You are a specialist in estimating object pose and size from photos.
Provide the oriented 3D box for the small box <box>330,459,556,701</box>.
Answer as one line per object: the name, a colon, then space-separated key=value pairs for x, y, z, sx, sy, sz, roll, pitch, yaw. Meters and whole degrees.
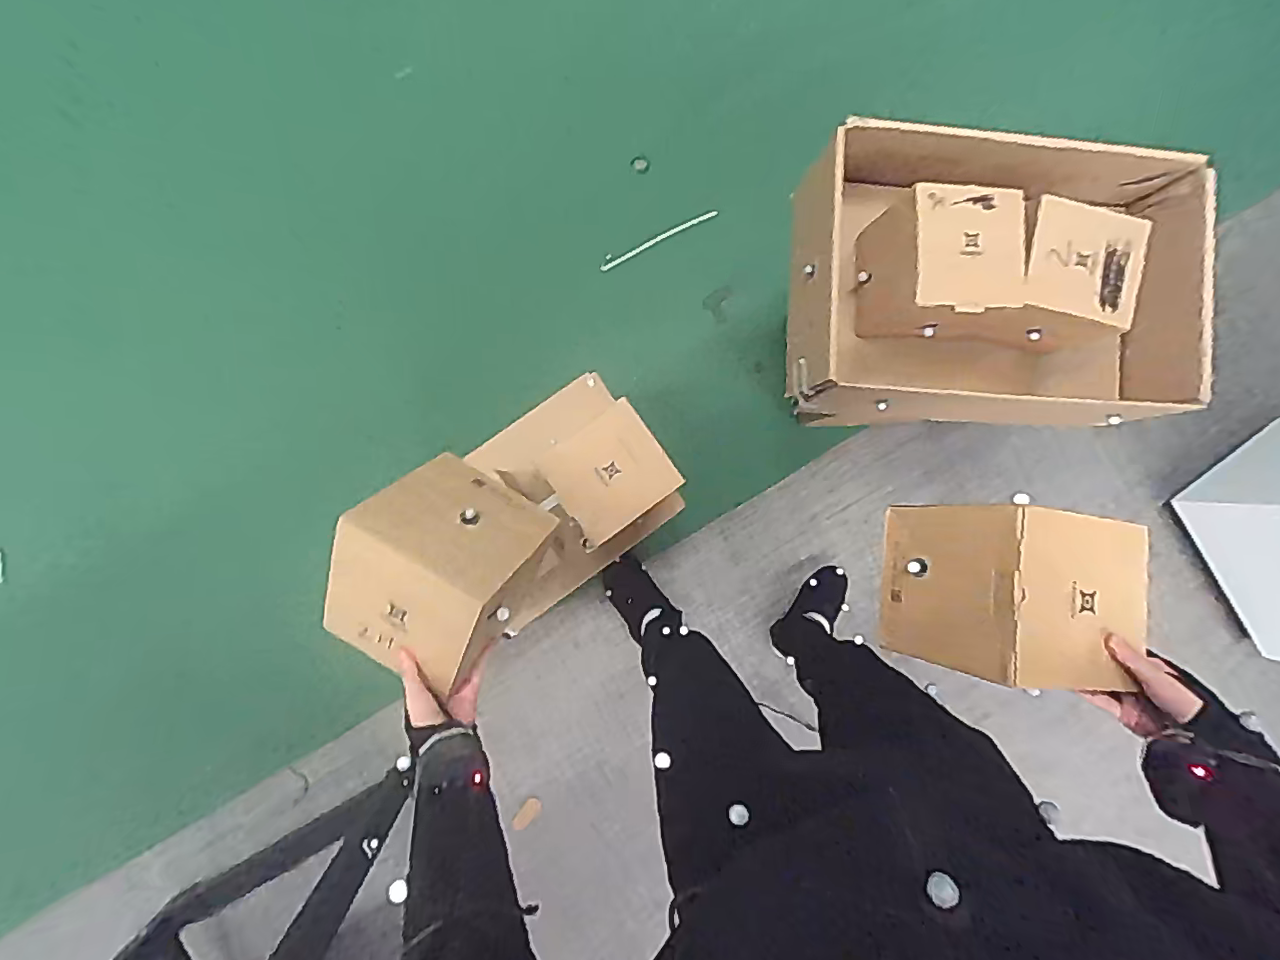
small box: x=-0.217 y=0.104 z=0.621 sx=0.168 sy=0.176 sz=0.179 roll=30 pitch=123 yaw=5

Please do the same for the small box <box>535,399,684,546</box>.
small box: x=-0.051 y=-0.011 z=0.907 sx=0.179 sy=0.176 sz=0.168 roll=-36 pitch=94 yaw=-5

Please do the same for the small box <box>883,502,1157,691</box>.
small box: x=0.398 y=0.116 z=0.583 sx=0.179 sy=0.176 sz=0.168 roll=9 pitch=84 yaw=-16
